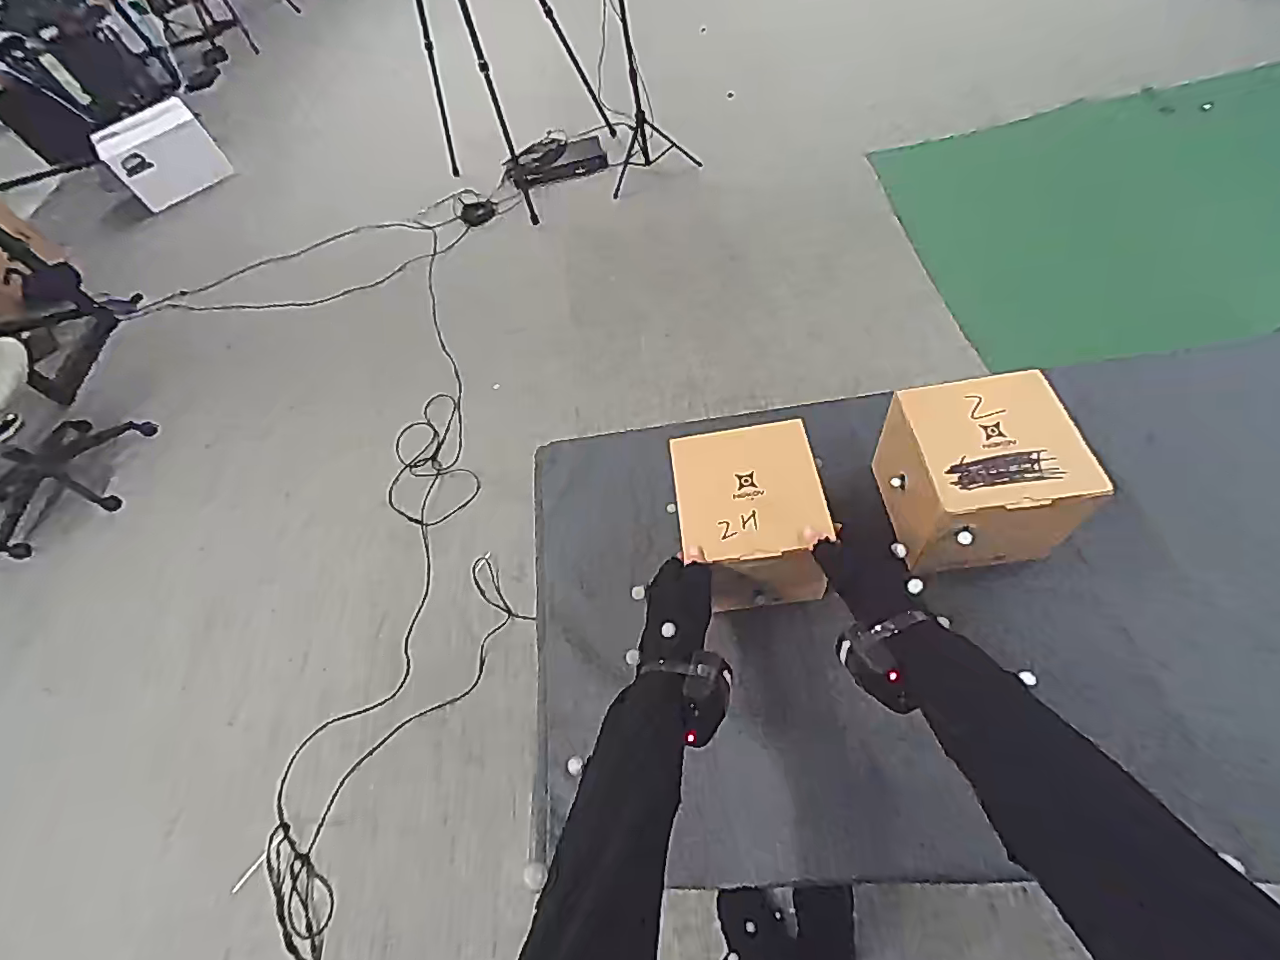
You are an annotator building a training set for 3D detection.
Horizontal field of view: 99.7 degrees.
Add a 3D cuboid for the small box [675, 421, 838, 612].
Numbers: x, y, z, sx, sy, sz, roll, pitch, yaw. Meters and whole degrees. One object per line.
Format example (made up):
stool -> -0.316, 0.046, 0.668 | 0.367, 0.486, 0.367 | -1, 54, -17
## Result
small box -> 0.140, 0.052, 0.693 | 0.168, 0.176, 0.179 | -9, 58, 7
